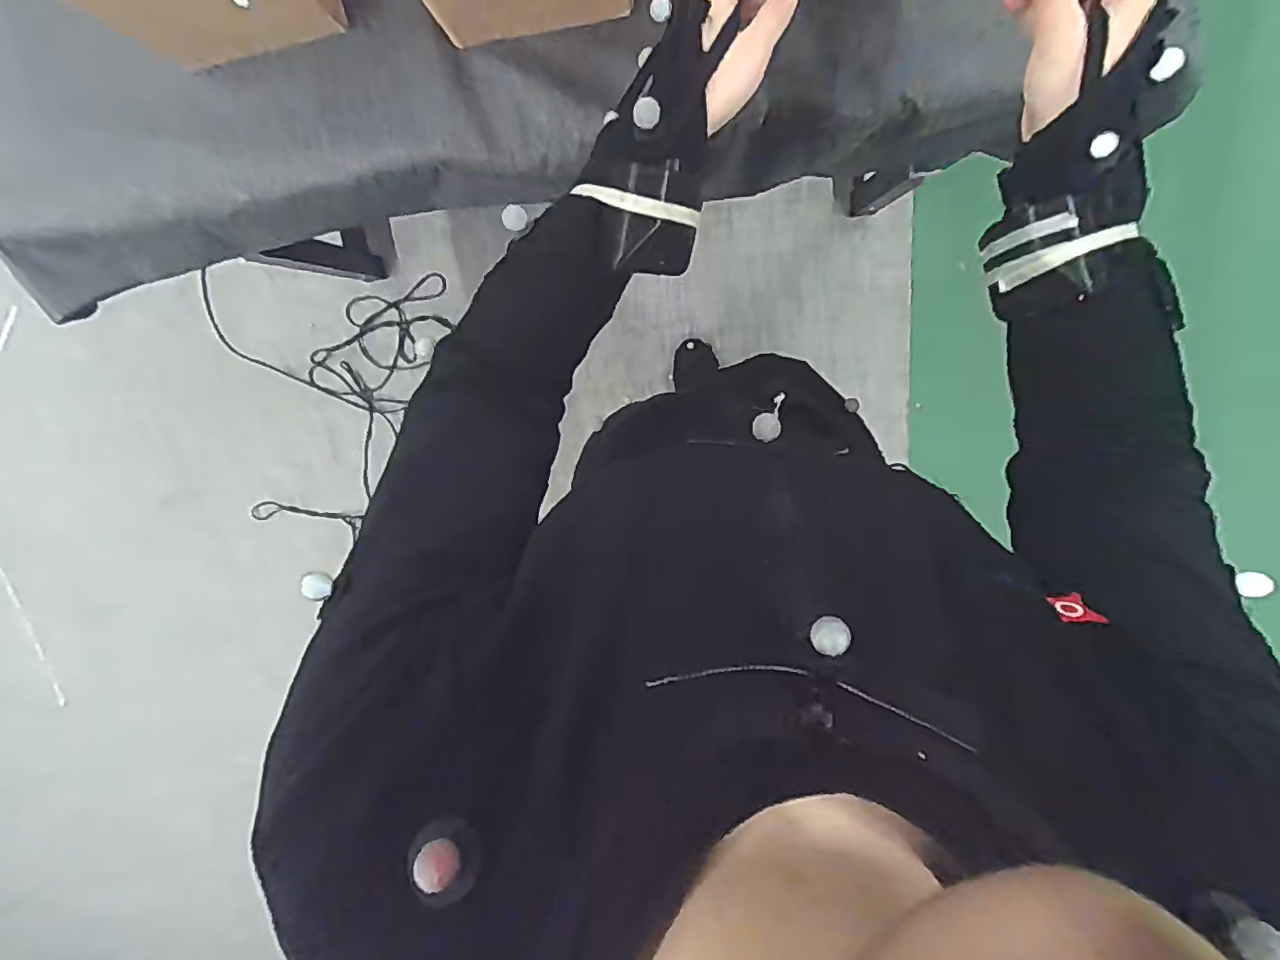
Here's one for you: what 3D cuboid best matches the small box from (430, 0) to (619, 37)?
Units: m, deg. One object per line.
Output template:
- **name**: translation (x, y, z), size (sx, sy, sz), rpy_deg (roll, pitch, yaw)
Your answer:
- **small box**: translation (-0.109, -0.485, 0.414), size (0.179, 0.176, 0.168), rpy_deg (-8, 104, 5)
